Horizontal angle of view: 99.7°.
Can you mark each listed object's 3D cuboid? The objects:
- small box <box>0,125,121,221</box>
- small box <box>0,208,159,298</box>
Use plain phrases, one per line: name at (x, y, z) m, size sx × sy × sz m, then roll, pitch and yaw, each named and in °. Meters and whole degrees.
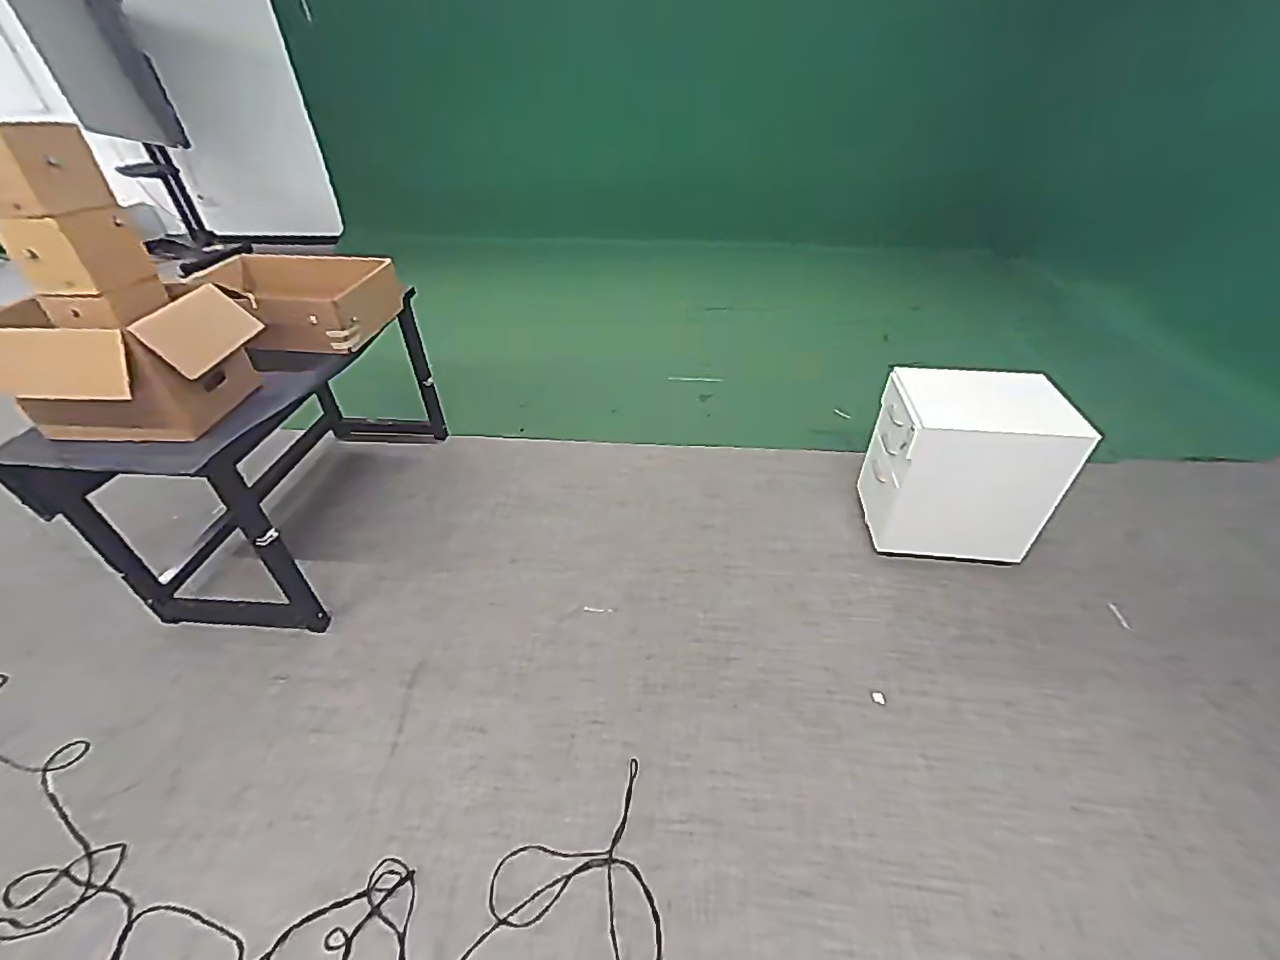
small box at (-1.321, -0.670, 1.185) m, size 0.168 × 0.176 × 0.179 m, roll 2°, pitch 35°, yaw 7°
small box at (-1.313, -0.536, 1.279) m, size 0.168 × 0.176 × 0.179 m, roll 1°, pitch 35°, yaw 6°
